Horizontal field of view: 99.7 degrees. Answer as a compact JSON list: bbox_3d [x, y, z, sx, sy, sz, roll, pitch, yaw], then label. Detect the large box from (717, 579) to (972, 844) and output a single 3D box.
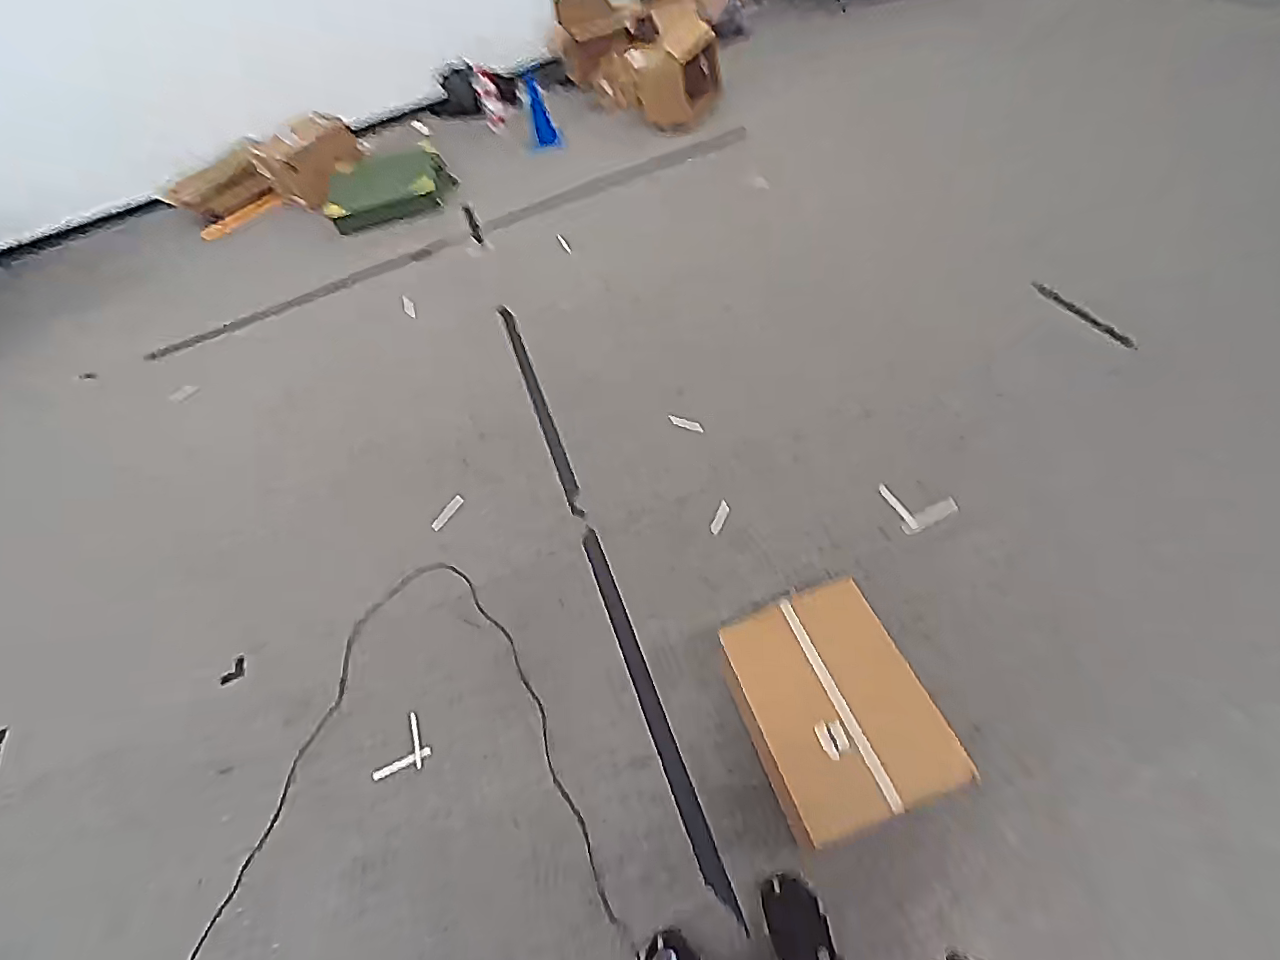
[{"bbox_3d":[0.390,0.494,1.158,0.320,0.320,0.408,-22,55,-3],"label":"large box"}]
